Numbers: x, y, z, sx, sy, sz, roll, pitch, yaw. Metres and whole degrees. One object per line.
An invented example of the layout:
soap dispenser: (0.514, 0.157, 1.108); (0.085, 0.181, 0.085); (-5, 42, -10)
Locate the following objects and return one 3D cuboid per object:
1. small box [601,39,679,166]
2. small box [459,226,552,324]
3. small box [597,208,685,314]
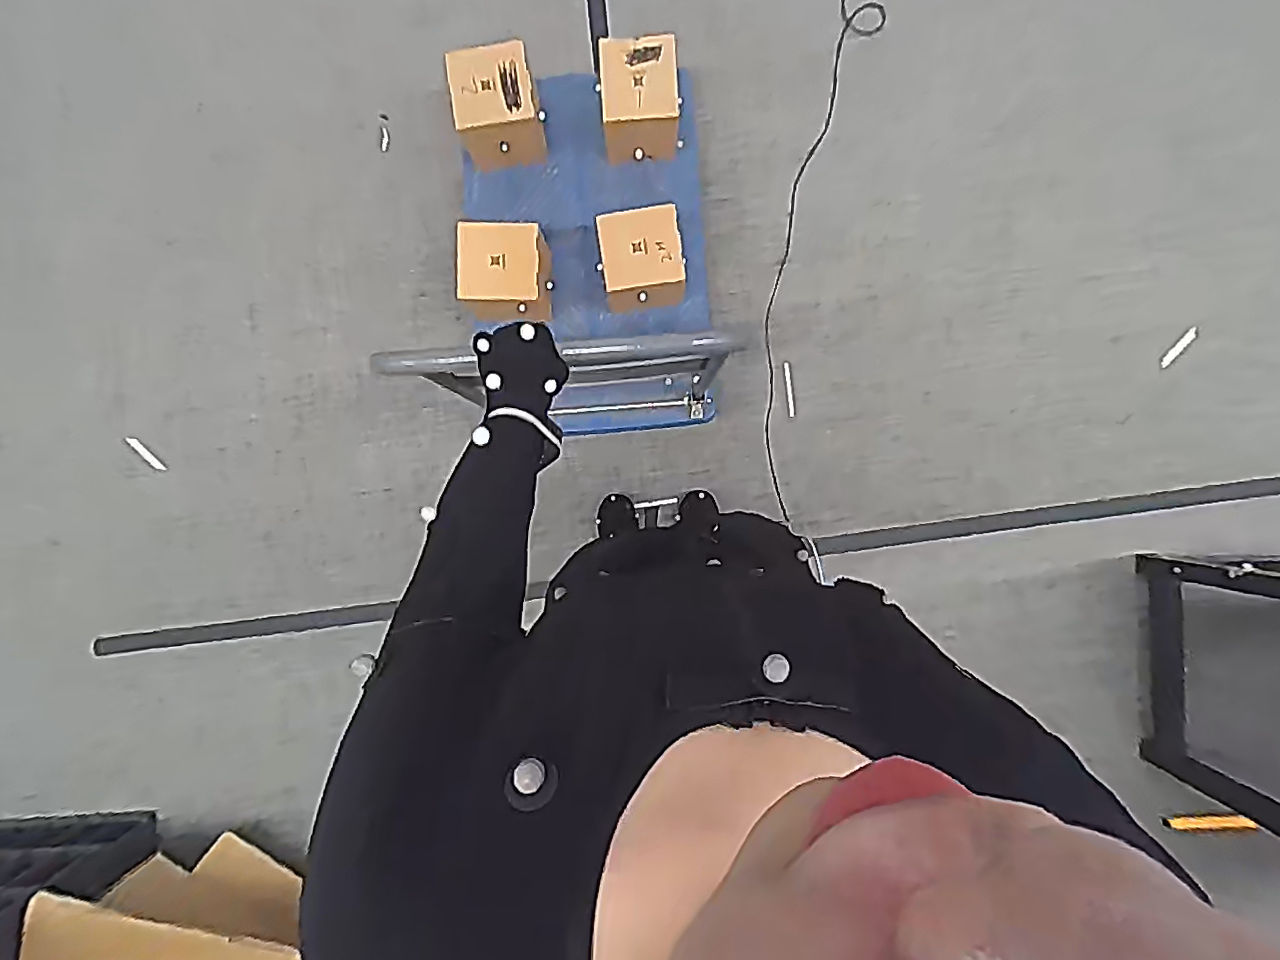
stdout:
small box: (-0.001, -0.853, 1.236); (0.168, 0.176, 0.179); (-3, 92, 1)
small box: (-0.303, -0.463, 1.244); (0.179, 0.176, 0.168); (0, 90, -1)
small box: (0.005, -0.492, 1.239); (0.179, 0.176, 0.168); (-8, 91, 1)
